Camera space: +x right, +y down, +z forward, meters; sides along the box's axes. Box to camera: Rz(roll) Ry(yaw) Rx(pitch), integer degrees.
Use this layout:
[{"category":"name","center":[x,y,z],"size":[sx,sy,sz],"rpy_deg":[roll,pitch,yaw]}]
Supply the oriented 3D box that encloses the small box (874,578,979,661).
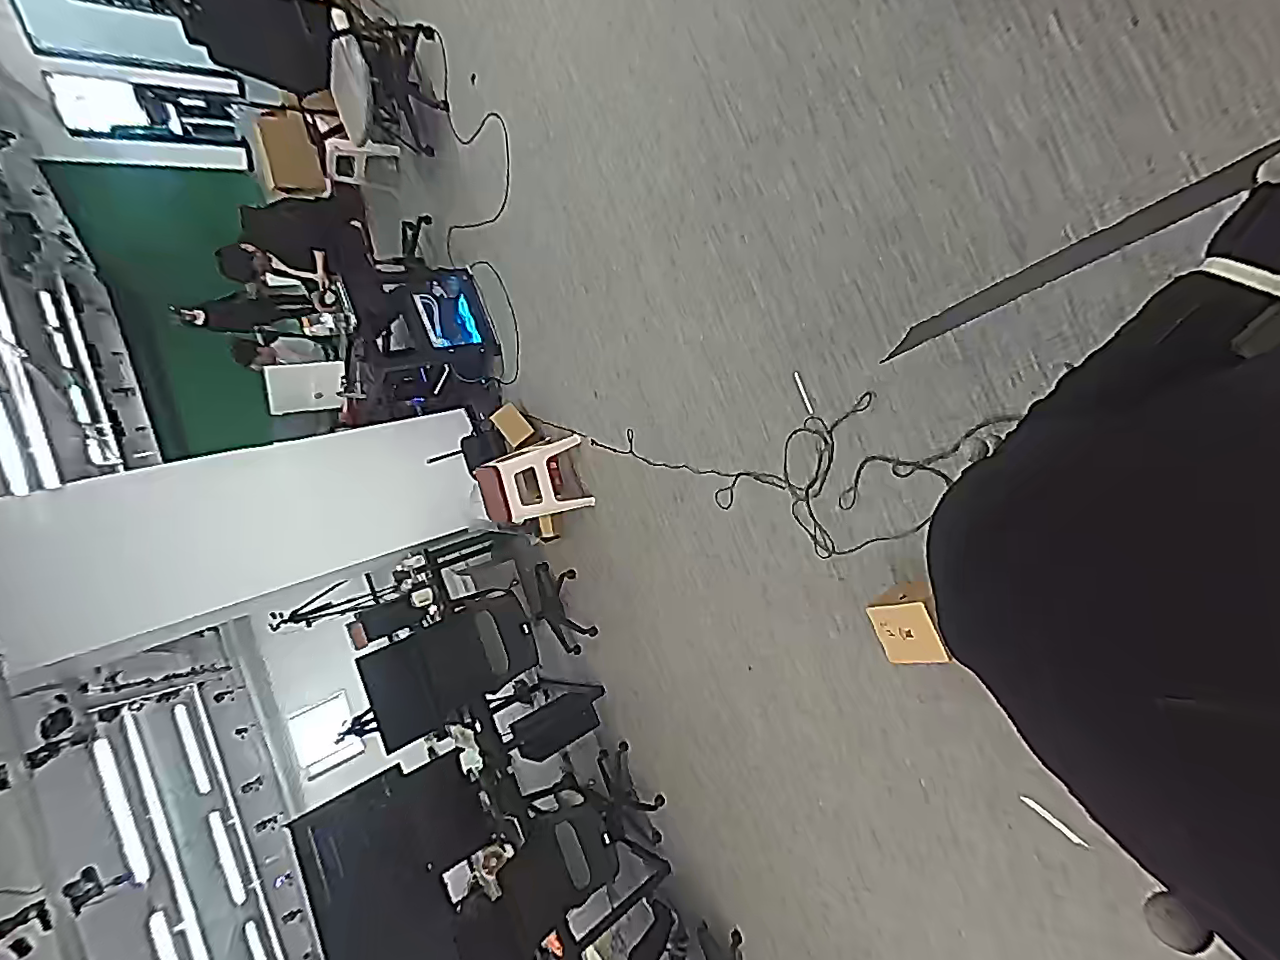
[{"category":"small box","center":[0.781,0.375,1.461],"size":[0.179,0.176,0.168],"rpy_deg":[-30,81,56]}]
